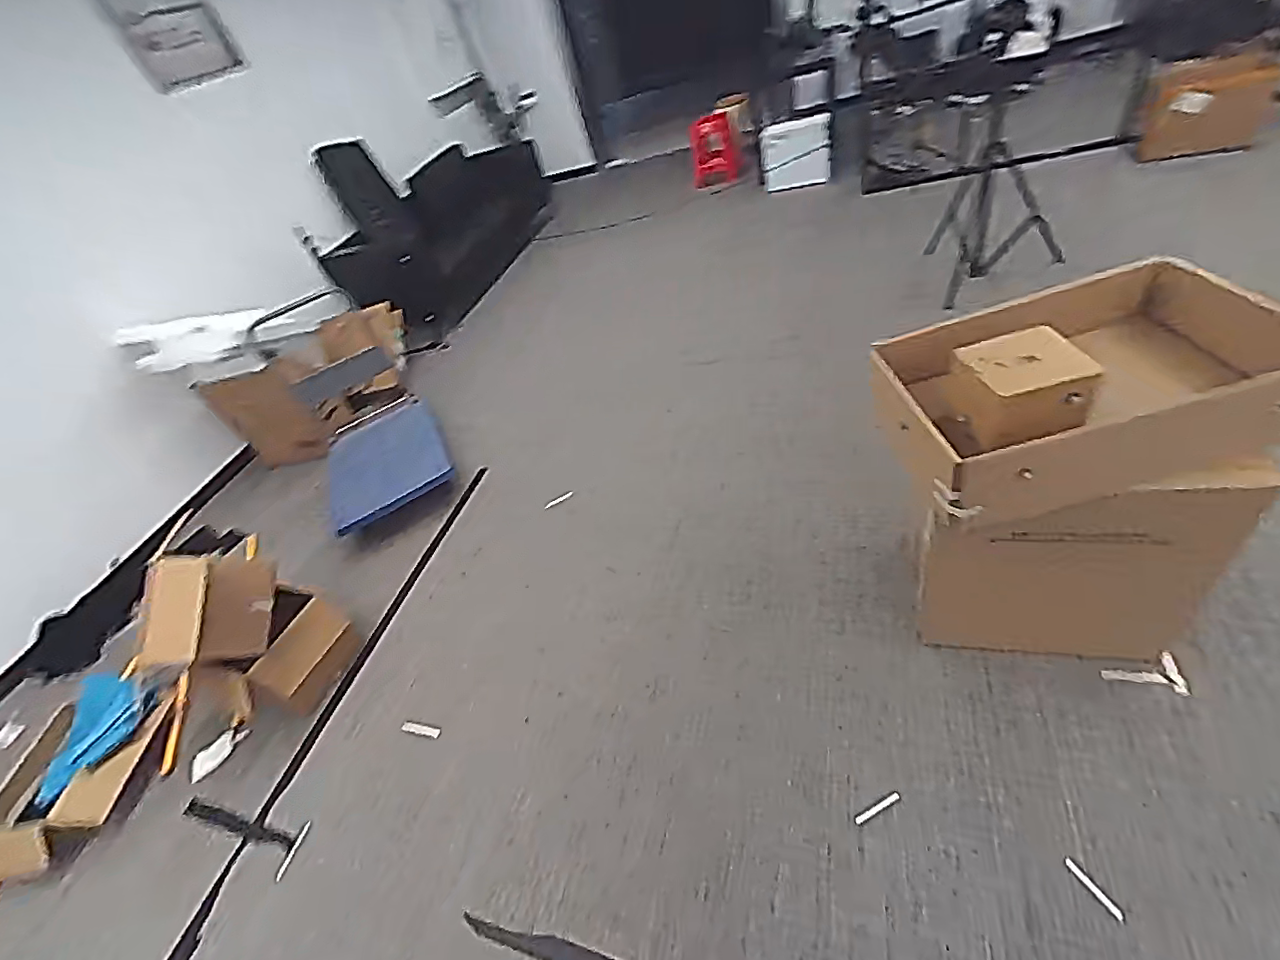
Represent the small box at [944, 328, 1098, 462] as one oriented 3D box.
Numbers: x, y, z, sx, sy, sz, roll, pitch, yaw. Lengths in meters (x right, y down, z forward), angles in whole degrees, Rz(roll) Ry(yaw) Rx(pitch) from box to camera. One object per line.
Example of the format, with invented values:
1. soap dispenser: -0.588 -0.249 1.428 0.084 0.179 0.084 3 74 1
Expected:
1. small box: 0.719 -0.161 1.046 0.179 0.176 0.168 -15 43 8
